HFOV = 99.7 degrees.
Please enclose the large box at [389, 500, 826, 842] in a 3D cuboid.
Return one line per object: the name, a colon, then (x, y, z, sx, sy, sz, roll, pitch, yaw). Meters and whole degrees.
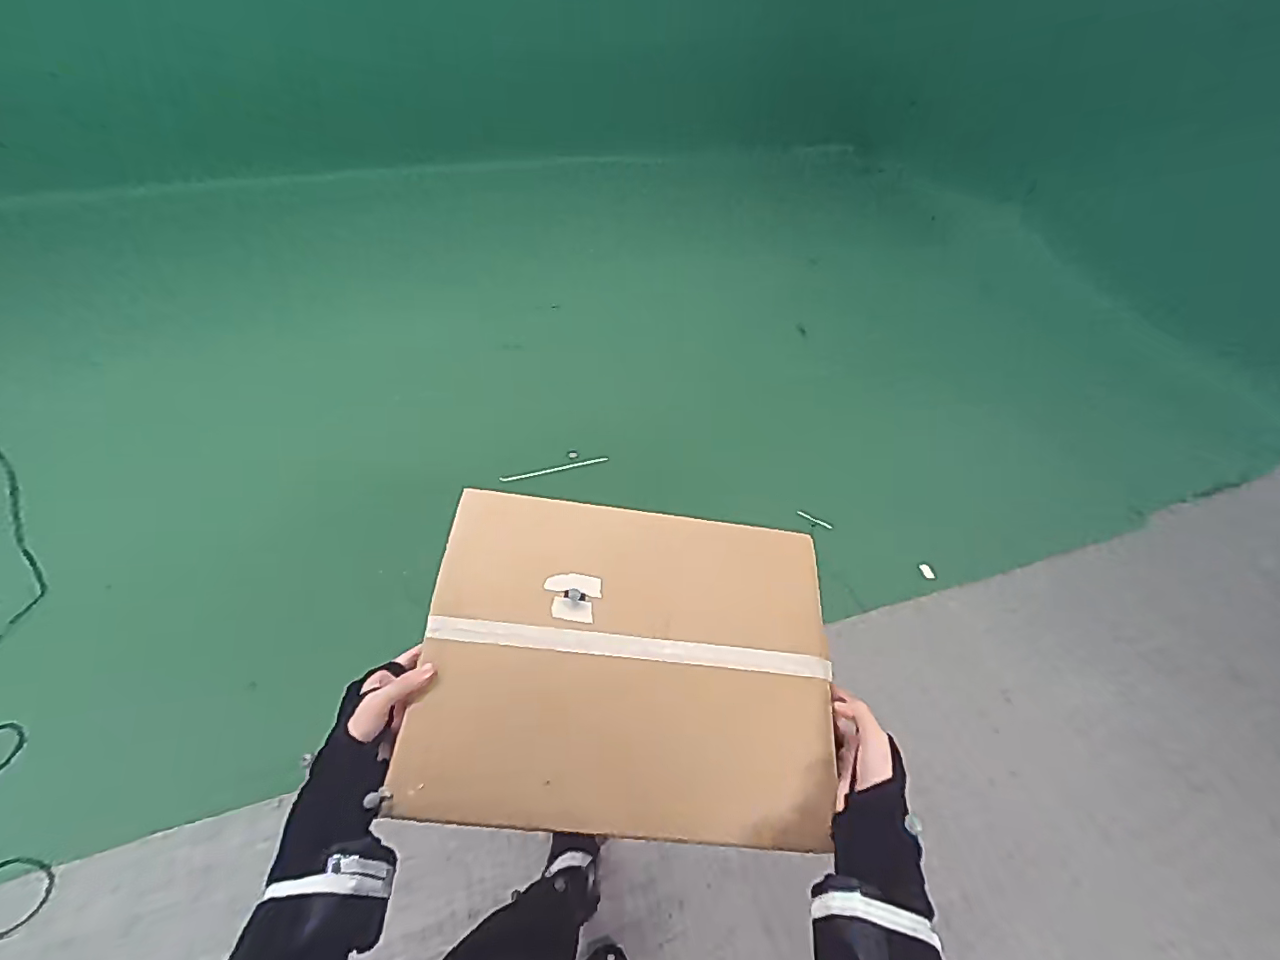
large box: (-0.031, 0.249, 0.686, 0.408, 0.320, 0.320, 8, 59, -4)
